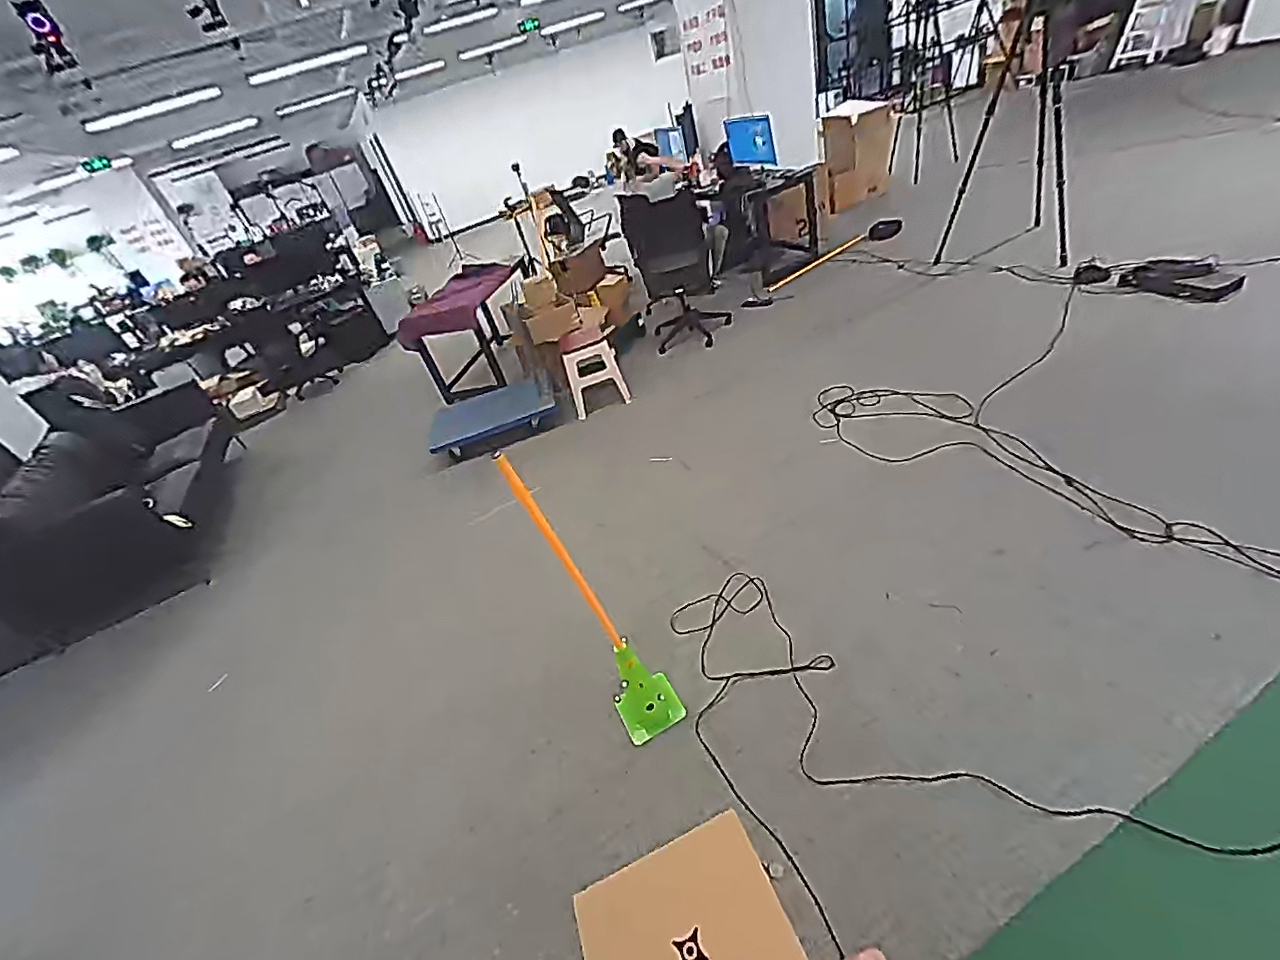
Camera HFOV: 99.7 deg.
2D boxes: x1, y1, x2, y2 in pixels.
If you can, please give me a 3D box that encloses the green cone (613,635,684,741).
[{"bbox_3d":[-0.015,0.625,1.729,0.202,0.368,0.200,-26,37,-13],"label":"green cone"}]
